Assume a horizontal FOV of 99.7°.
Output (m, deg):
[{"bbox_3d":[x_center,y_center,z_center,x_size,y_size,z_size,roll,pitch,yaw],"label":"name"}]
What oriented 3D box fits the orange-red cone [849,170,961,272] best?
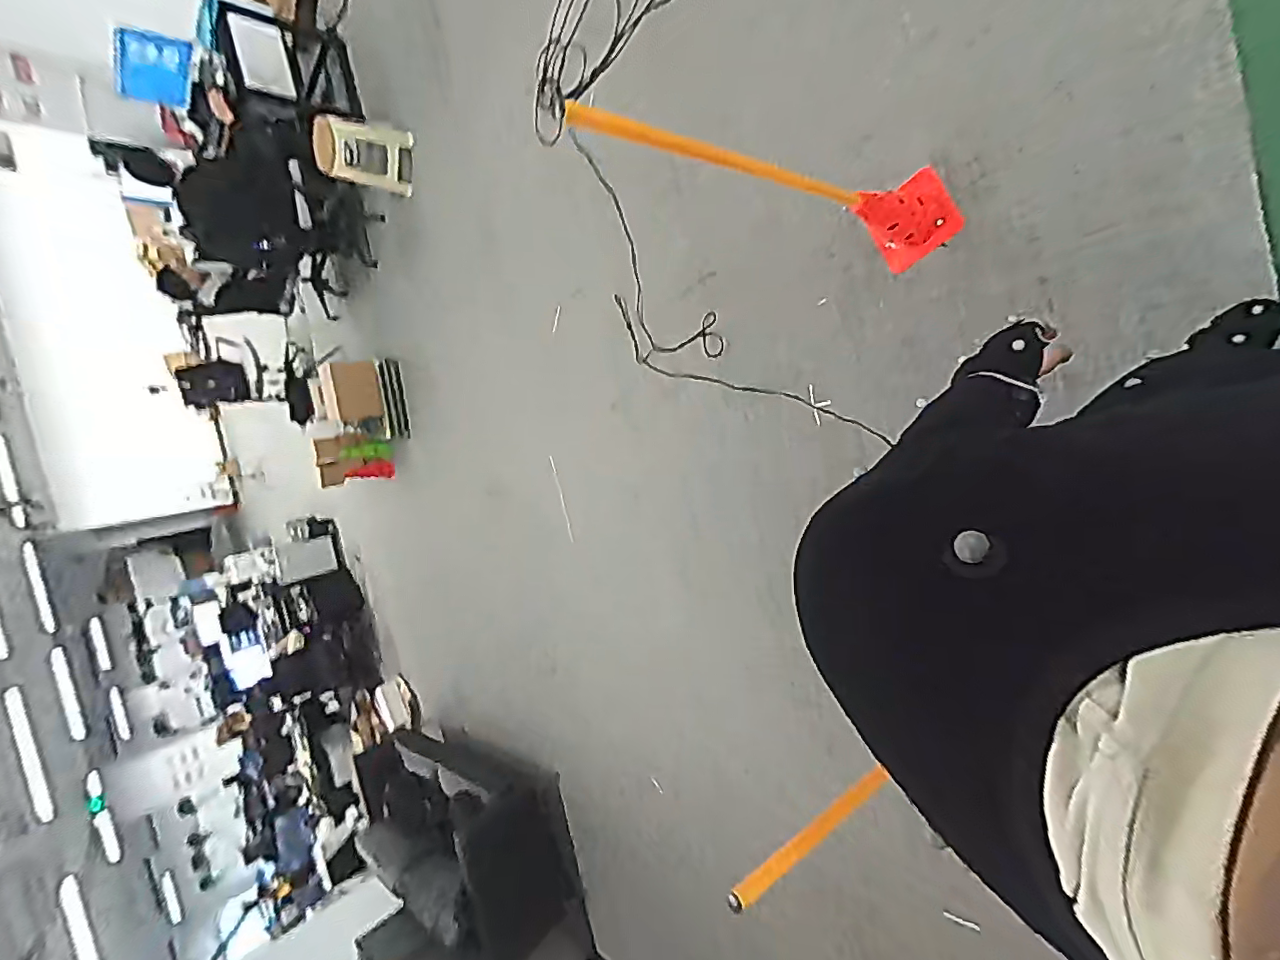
[{"bbox_3d":[0.611,-0.665,1.340,0.198,0.360,0.199,-32,77,45],"label":"orange-red cone"}]
